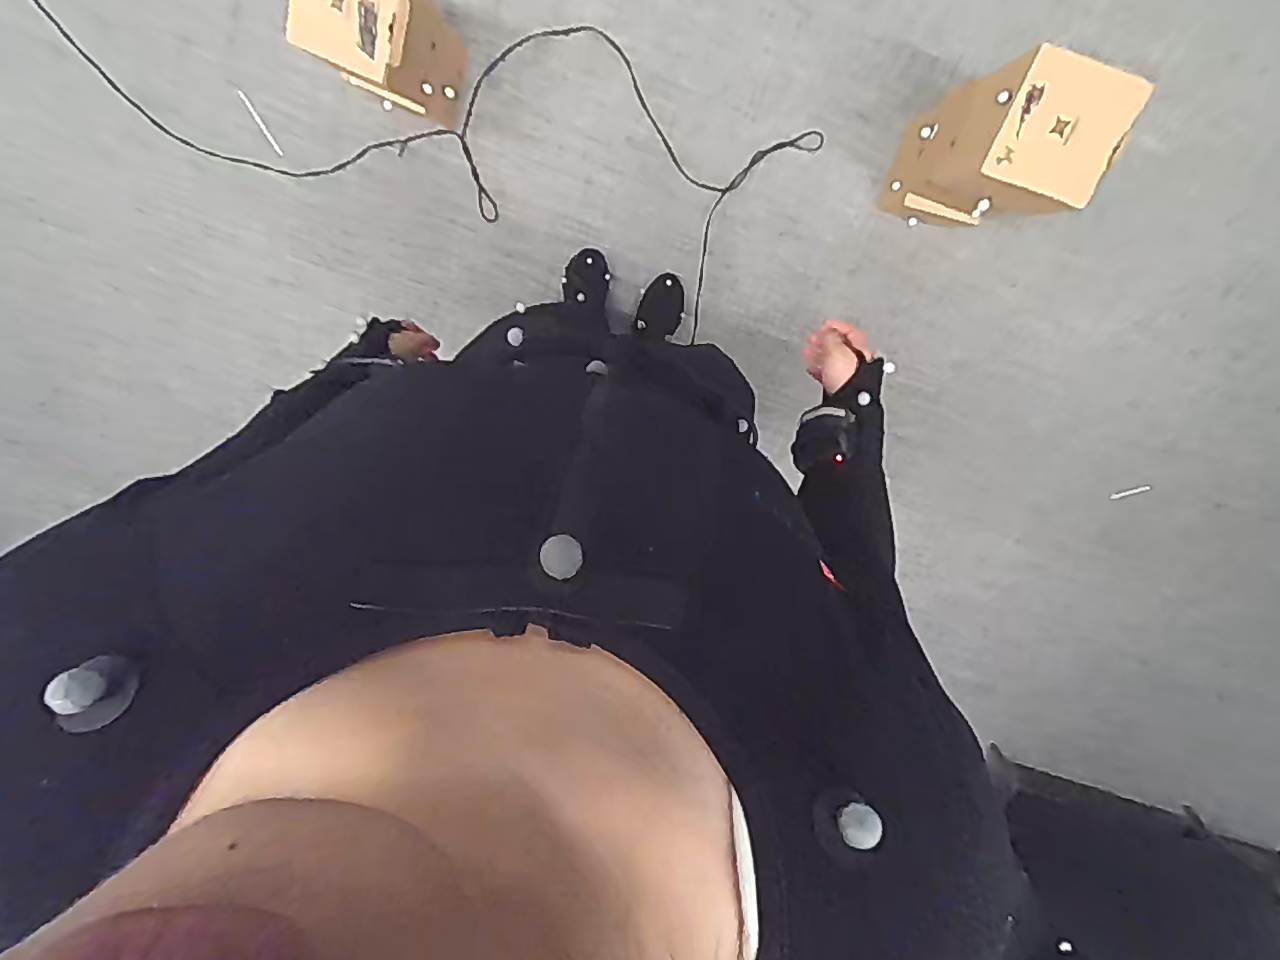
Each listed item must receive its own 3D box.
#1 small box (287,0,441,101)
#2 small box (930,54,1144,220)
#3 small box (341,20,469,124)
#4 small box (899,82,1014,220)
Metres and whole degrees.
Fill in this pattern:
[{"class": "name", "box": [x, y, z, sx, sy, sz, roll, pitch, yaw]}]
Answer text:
[{"class": "small box", "box": [-0.478, -0.807, 0.957, 0.179, 0.176, 0.168, 22, 112, -5]}, {"class": "small box", "box": [0.609, -0.527, 0.858, 0.179, 0.176, 0.168, 17, 113, -5]}, {"class": "small box", "box": [-0.474, -0.862, 1.112, 0.179, 0.176, 0.168, 21, 113, -6]}, {"class": "small box", "box": [0.624, -0.597, 1.006, 0.179, 0.176, 0.168, 18, 113, -4]}]
